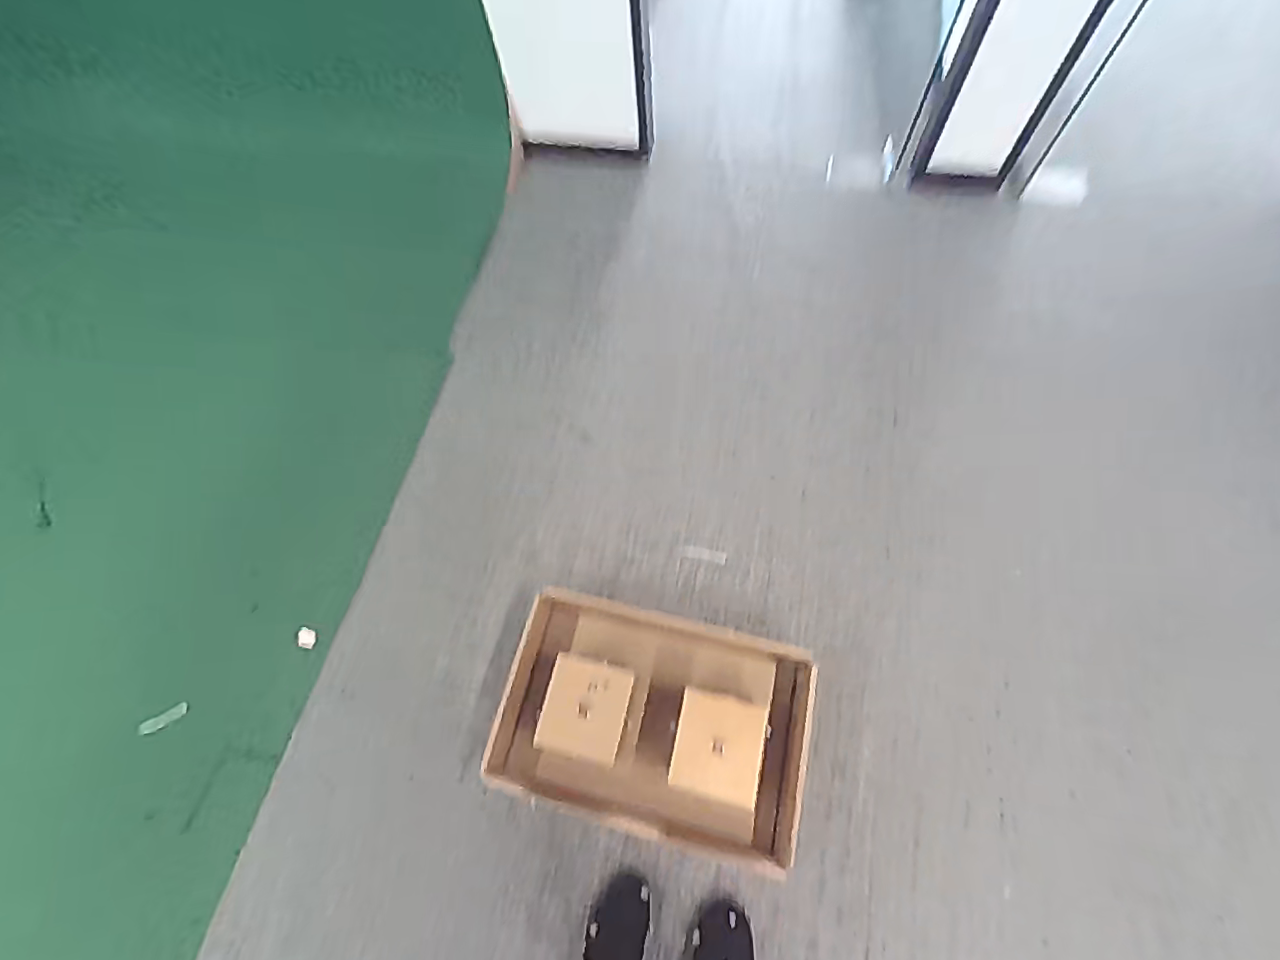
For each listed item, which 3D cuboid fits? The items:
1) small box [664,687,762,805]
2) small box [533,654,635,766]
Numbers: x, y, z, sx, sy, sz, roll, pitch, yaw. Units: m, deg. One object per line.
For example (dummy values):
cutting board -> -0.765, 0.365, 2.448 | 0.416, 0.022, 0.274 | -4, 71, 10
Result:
small box -> 0.151, 0.543, 1.121 | 0.168, 0.176, 0.179 | 11, 67, 9
small box -> -0.110, 0.489, 1.158 | 0.168, 0.176, 0.179 | 12, 68, 8
